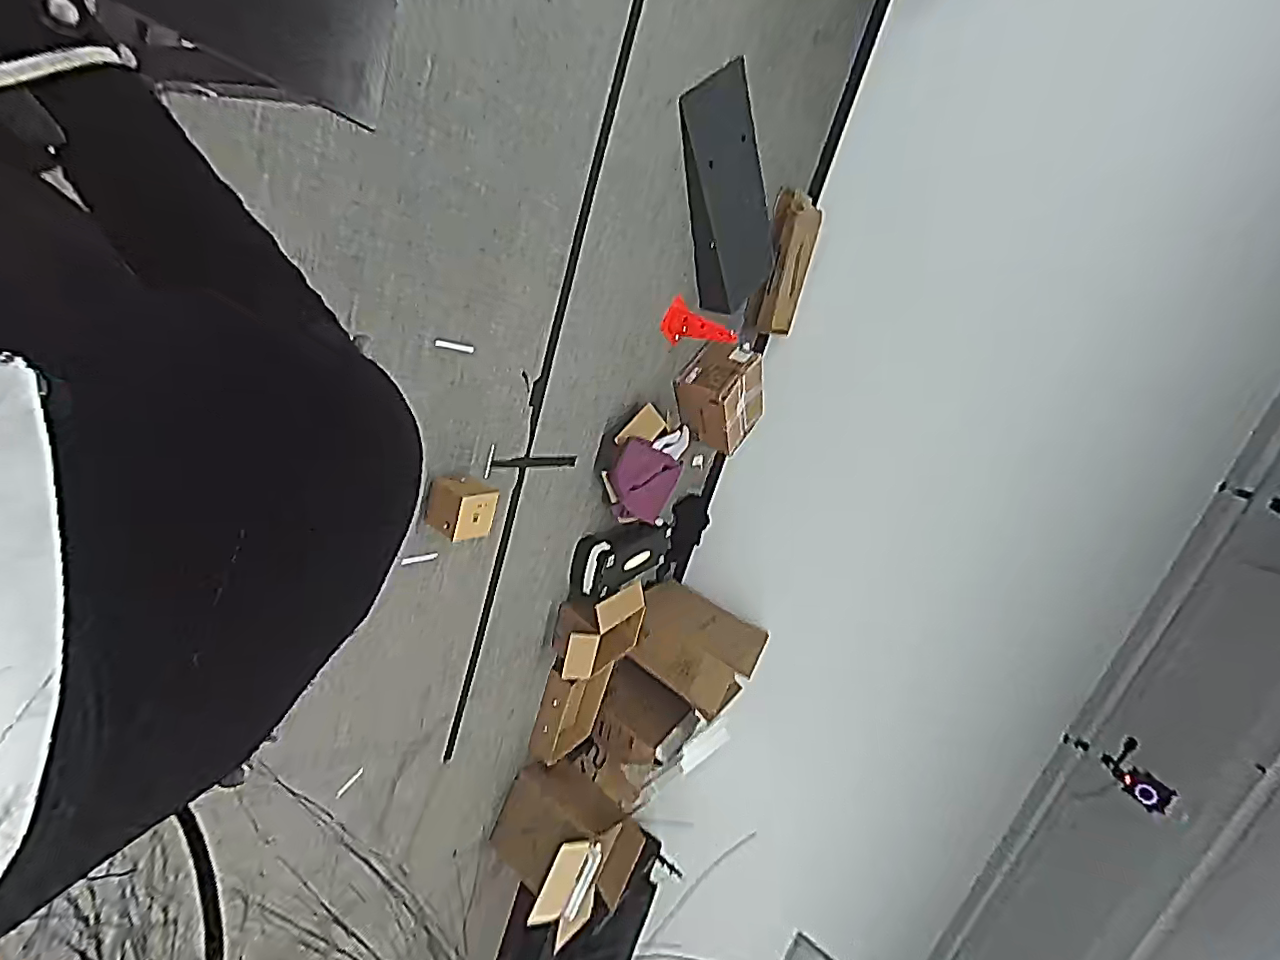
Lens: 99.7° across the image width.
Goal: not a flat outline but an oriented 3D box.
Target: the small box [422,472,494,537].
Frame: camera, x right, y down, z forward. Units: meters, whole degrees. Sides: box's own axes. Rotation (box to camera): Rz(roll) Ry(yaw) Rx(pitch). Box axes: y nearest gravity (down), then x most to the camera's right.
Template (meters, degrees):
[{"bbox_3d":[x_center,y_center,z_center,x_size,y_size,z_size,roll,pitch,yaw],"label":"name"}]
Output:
[{"bbox_3d":[-0.667,0.084,1.967,0.168,0.176,0.179,-8,120,-57],"label":"small box"}]
